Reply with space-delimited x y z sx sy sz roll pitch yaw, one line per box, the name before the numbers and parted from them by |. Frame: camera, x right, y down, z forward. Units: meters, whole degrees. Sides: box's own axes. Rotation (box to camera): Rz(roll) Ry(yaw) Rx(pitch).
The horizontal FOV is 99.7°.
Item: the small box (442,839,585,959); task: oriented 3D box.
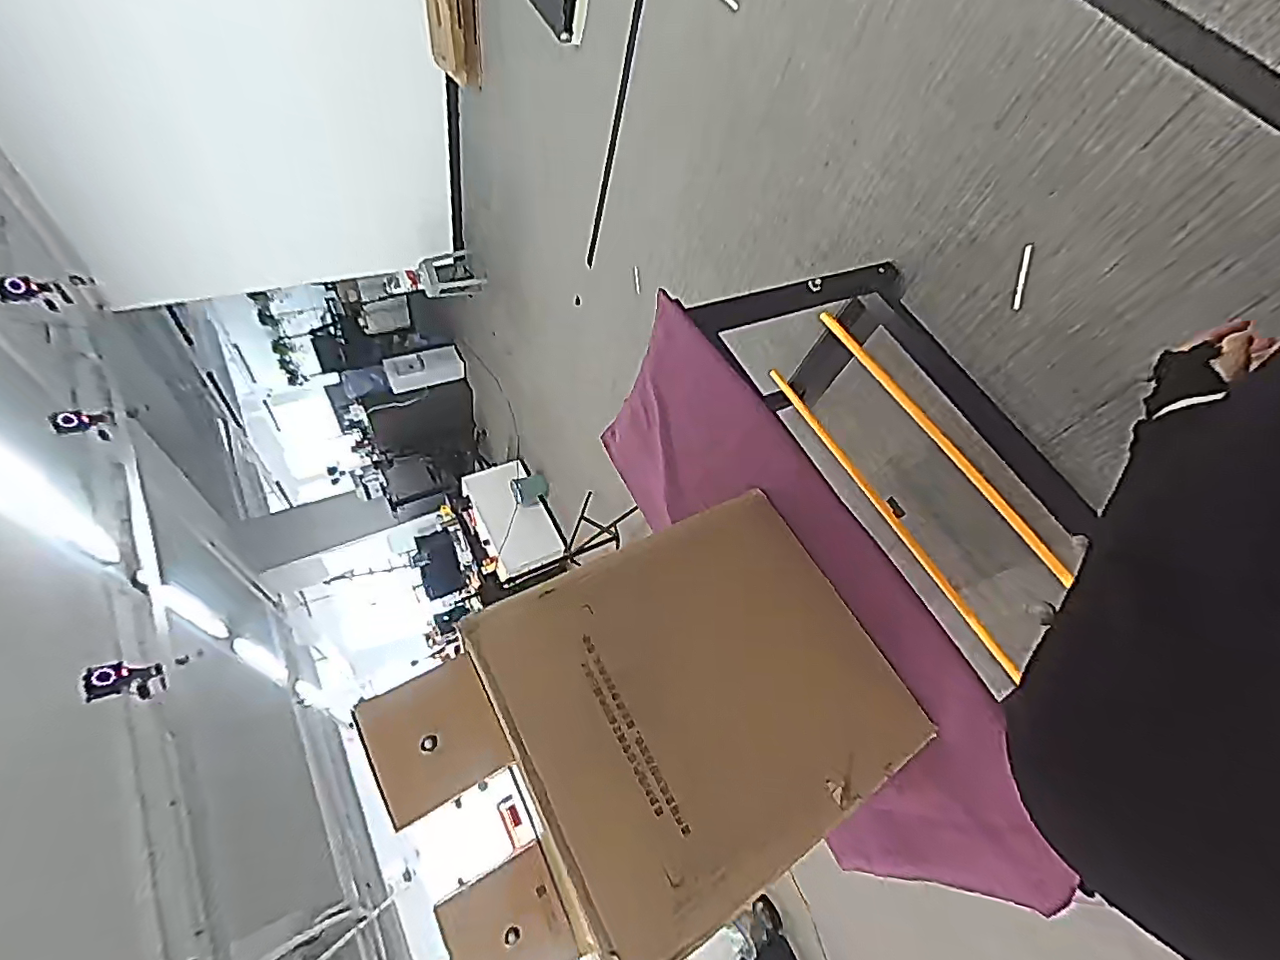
small box | -0.201 0.705 0.862 0.168 0.176 0.179 60 152 22
